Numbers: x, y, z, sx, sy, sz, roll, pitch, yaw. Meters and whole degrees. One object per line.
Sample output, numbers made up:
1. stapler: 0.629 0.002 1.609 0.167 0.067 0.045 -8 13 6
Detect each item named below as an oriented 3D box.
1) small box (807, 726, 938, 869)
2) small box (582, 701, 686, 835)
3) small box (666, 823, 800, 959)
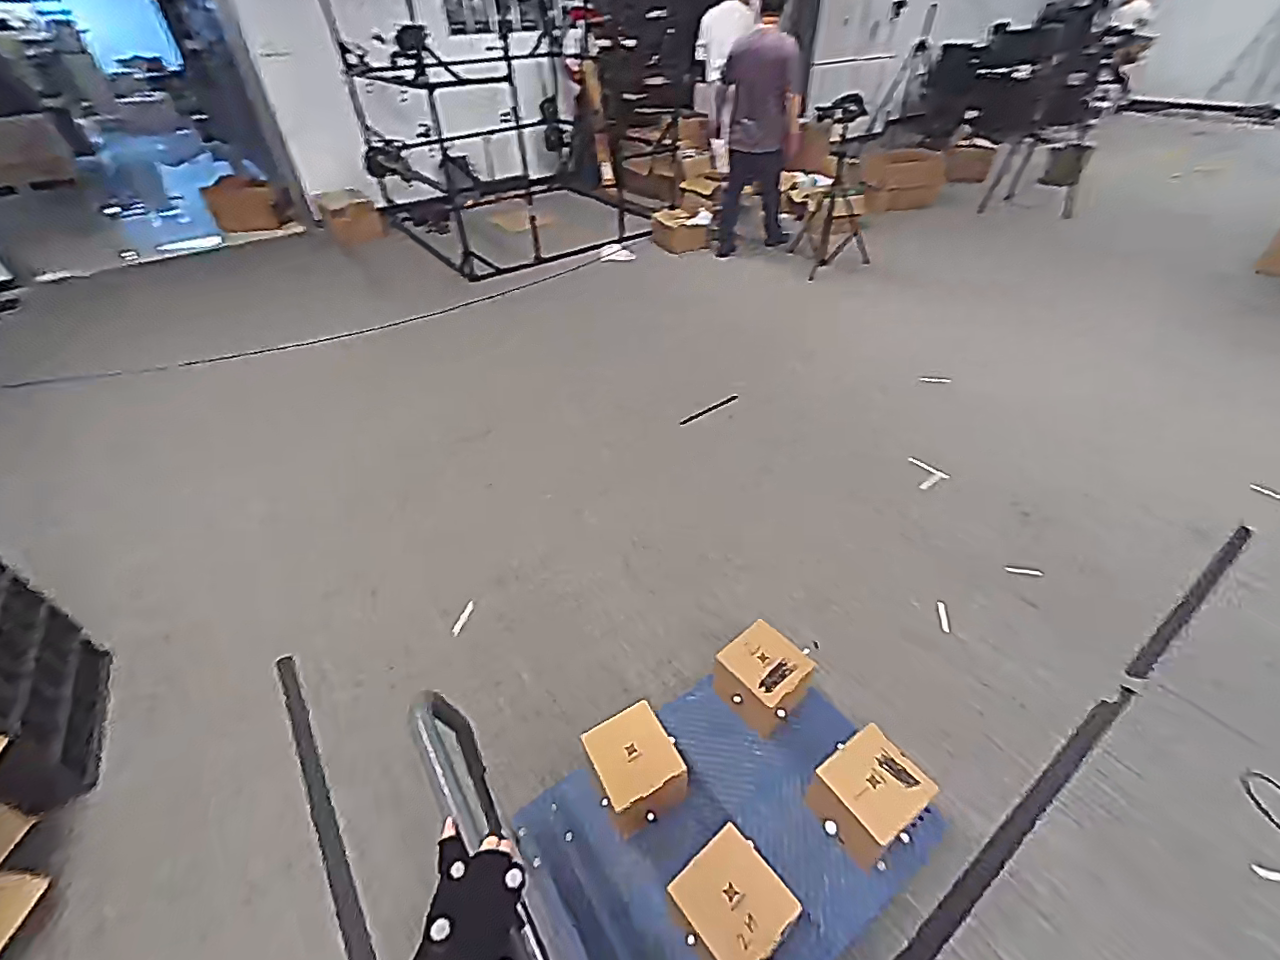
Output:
1. small box: 0.473 0.661 1.129 0.179 0.176 0.168 -26 45 -23
2. small box: -0.017 0.633 1.191 0.168 0.176 0.179 -21 46 -21
3. small box: 0.163 0.790 0.996 0.168 0.176 0.179 -29 47 -27
